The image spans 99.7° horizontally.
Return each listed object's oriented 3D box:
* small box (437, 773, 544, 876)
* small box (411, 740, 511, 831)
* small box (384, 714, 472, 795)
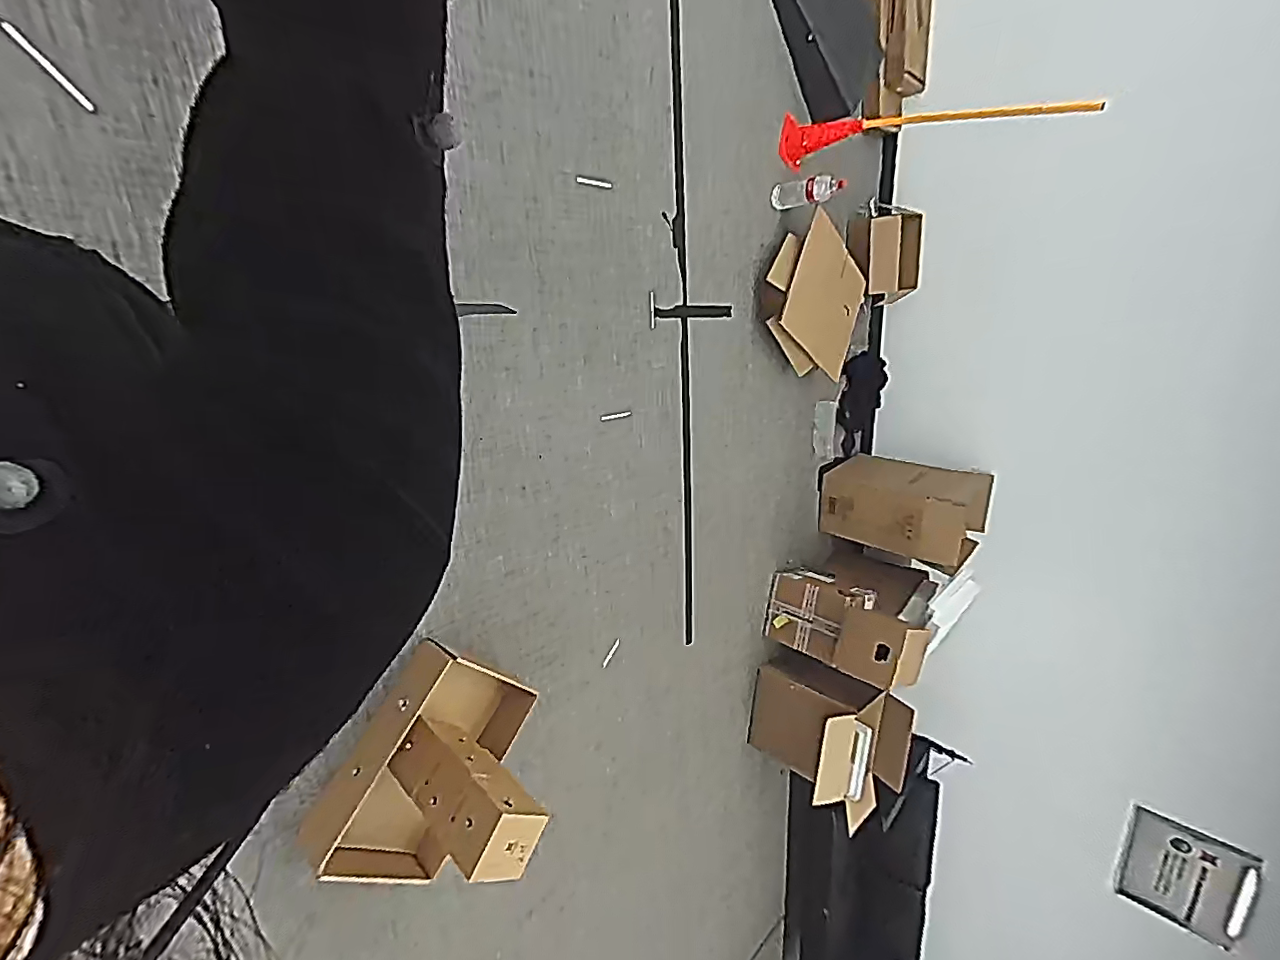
[{"bbox_3d":[-0.394,0.894,1.412,0.179,0.176,0.168,40,73,-44],"label":"small box"},{"bbox_3d":[-0.509,0.859,1.526,0.179,0.176,0.168,42,71,-46],"label":"small box"},{"bbox_3d":[-0.629,0.833,1.632,0.179,0.176,0.168,46,67,-42],"label":"small box"}]
